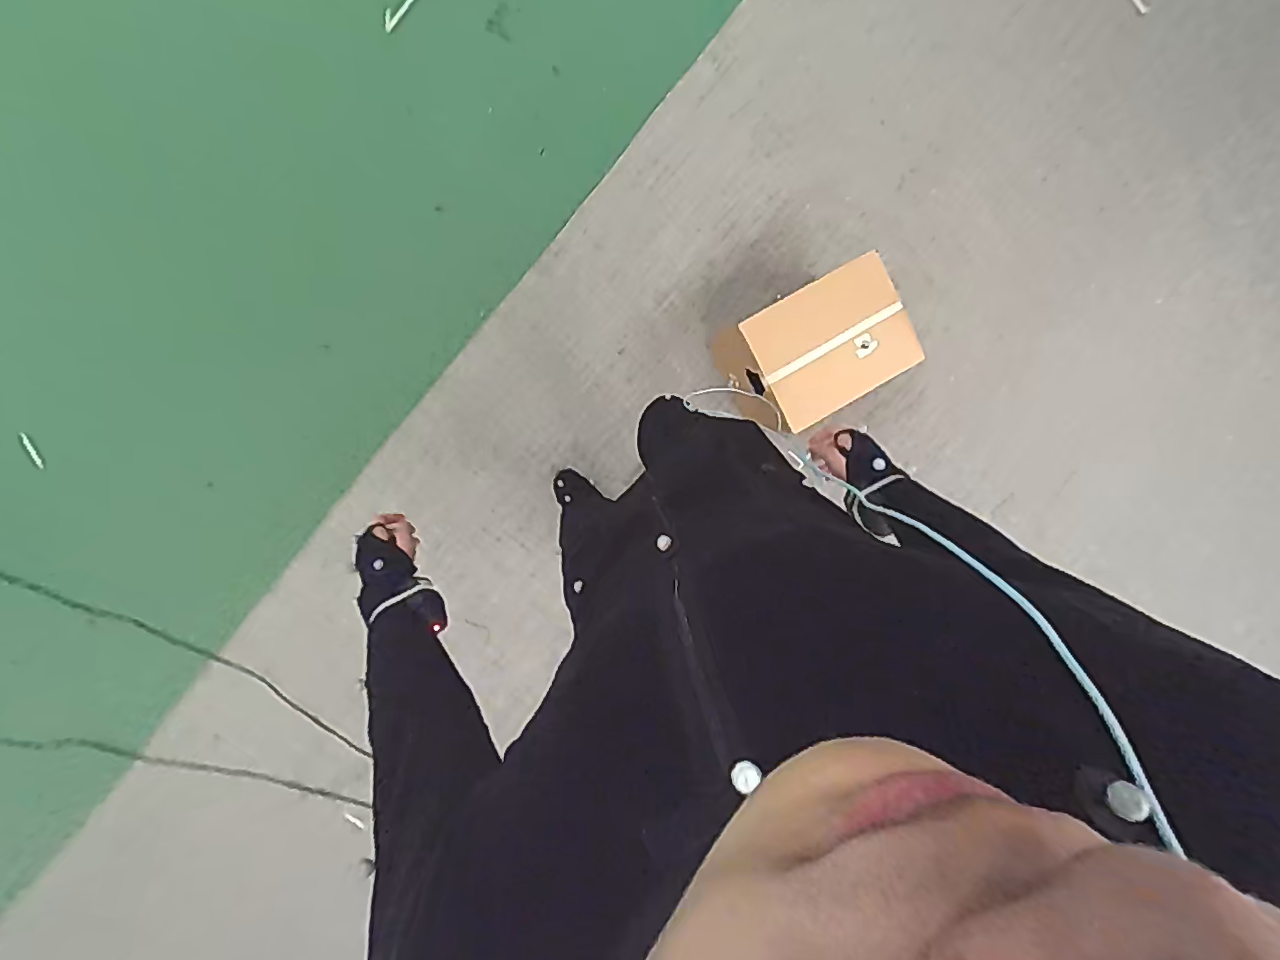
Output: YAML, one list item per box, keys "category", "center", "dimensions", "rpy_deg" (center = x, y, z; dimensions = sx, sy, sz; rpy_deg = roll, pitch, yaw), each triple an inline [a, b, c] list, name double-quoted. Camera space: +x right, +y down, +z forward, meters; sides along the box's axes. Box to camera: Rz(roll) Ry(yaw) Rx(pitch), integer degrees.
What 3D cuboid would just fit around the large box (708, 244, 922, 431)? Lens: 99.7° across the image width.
- category: "large box"
  center: [0.459, -0.366, 1.493]
  dimensions: [0.408, 0.320, 0.320]
  rpy_deg: [-30, 98, -4]
